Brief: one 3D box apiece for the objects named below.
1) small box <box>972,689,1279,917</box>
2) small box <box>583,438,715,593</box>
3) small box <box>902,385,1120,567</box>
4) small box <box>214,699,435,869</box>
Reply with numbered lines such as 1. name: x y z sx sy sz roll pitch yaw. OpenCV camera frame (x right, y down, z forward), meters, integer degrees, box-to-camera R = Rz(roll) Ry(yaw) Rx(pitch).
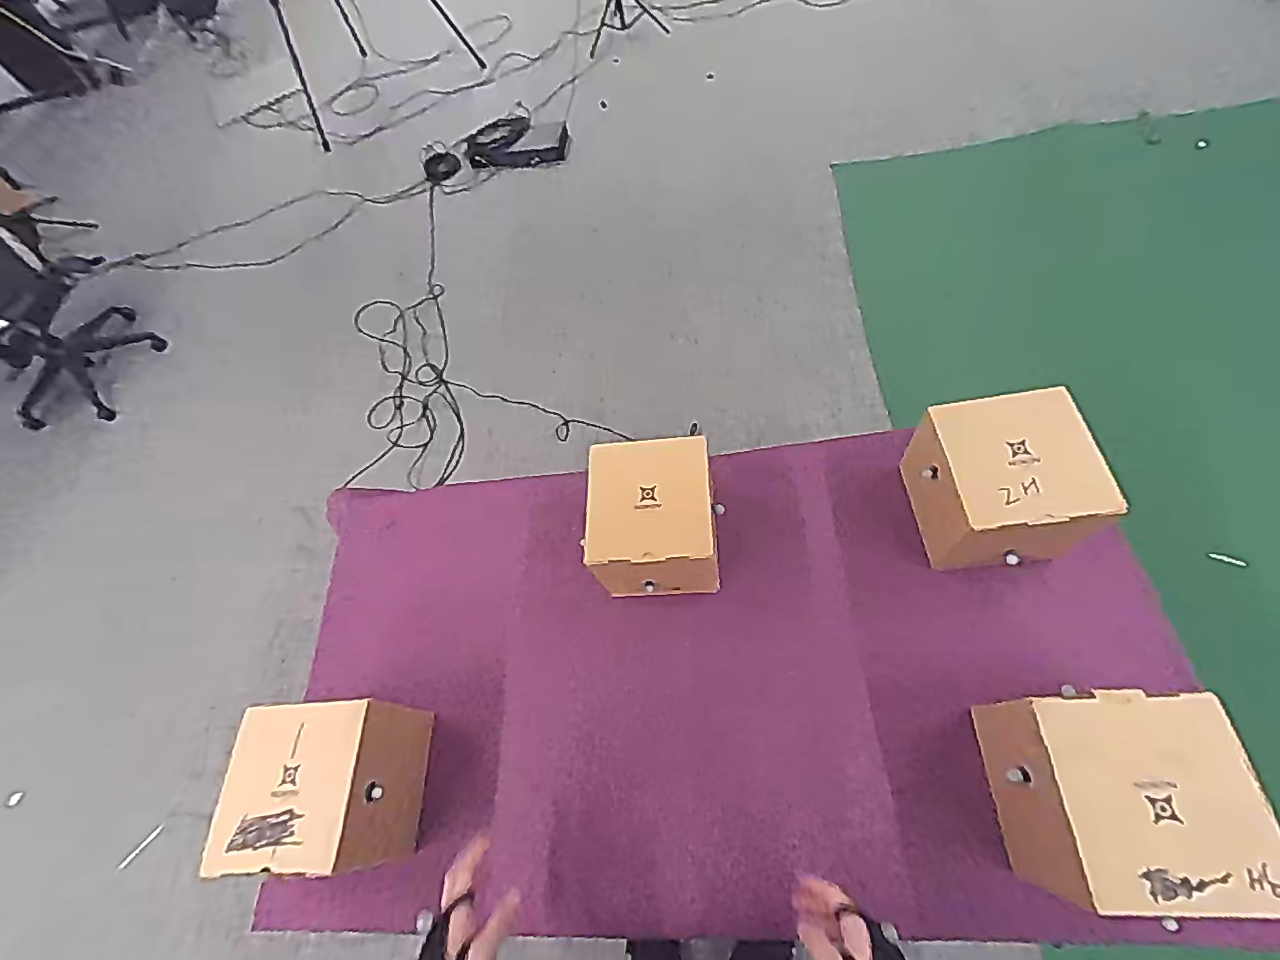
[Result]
1. small box: 0.476 0.321 0.560 0.168 0.176 0.179 -6 63 10
2. small box: 0.020 0.059 0.793 0.168 0.176 0.179 -5 65 9
3. small box: 0.467 0.003 0.719 0.168 0.176 0.179 -9 63 11
4. small box: -0.394 0.392 0.712 0.168 0.176 0.179 -6 61 9
